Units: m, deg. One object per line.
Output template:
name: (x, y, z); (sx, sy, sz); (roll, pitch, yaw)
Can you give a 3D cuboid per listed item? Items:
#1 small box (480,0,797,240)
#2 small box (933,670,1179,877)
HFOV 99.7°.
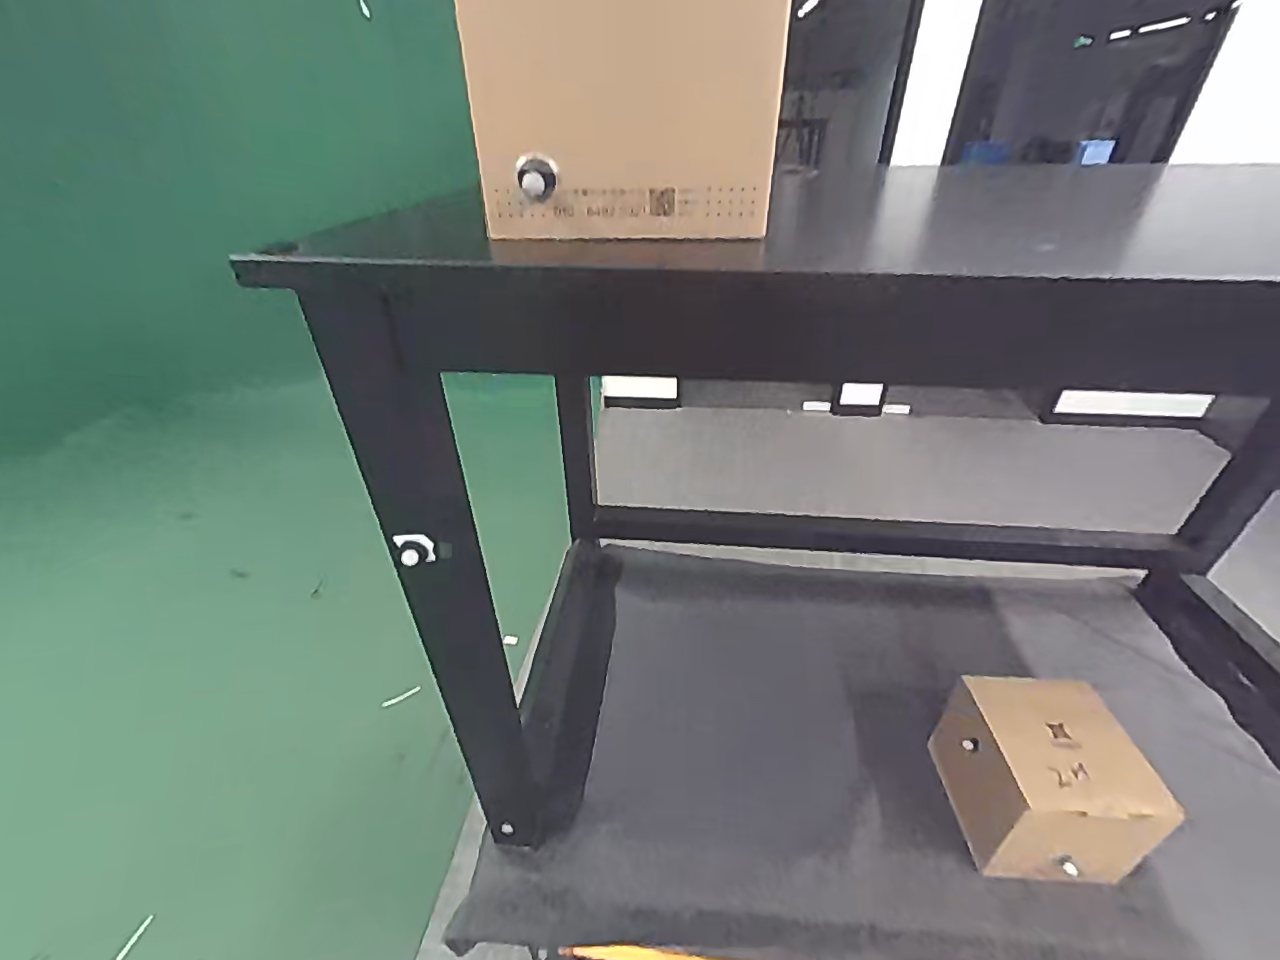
small box: (0.003, -0.260, 0.355); (0.168, 0.176, 0.179); (1, 33, 1)
small box: (0.515, 0.378, 0.708); (0.168, 0.176, 0.179); (1, 33, 4)
